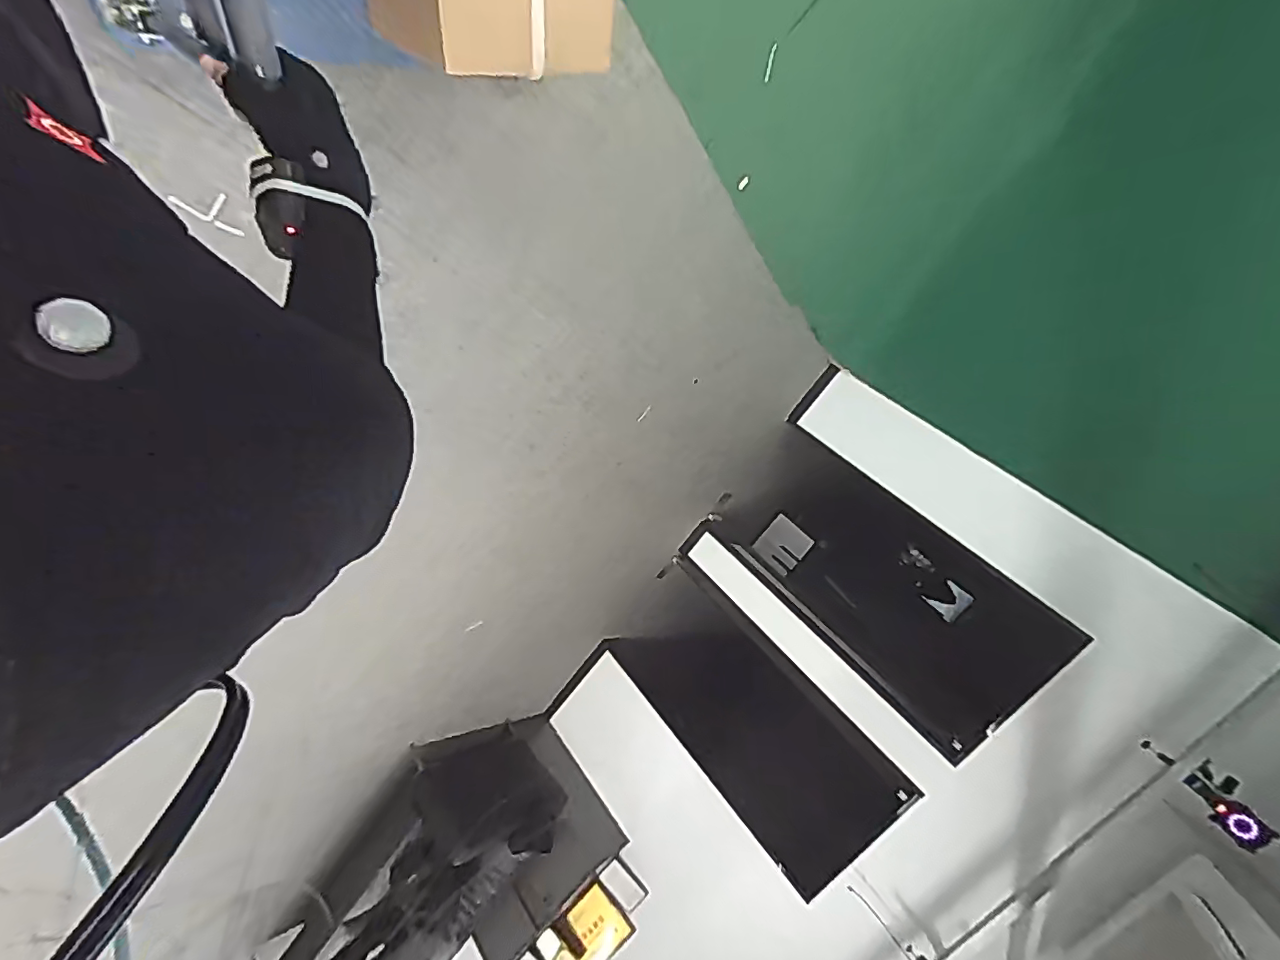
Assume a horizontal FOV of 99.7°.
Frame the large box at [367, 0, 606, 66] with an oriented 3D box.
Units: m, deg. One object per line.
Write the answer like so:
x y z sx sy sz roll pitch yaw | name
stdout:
-0.258 -0.921 0.841 0.320 0.320 0.408 -27 145 -31 | large box
